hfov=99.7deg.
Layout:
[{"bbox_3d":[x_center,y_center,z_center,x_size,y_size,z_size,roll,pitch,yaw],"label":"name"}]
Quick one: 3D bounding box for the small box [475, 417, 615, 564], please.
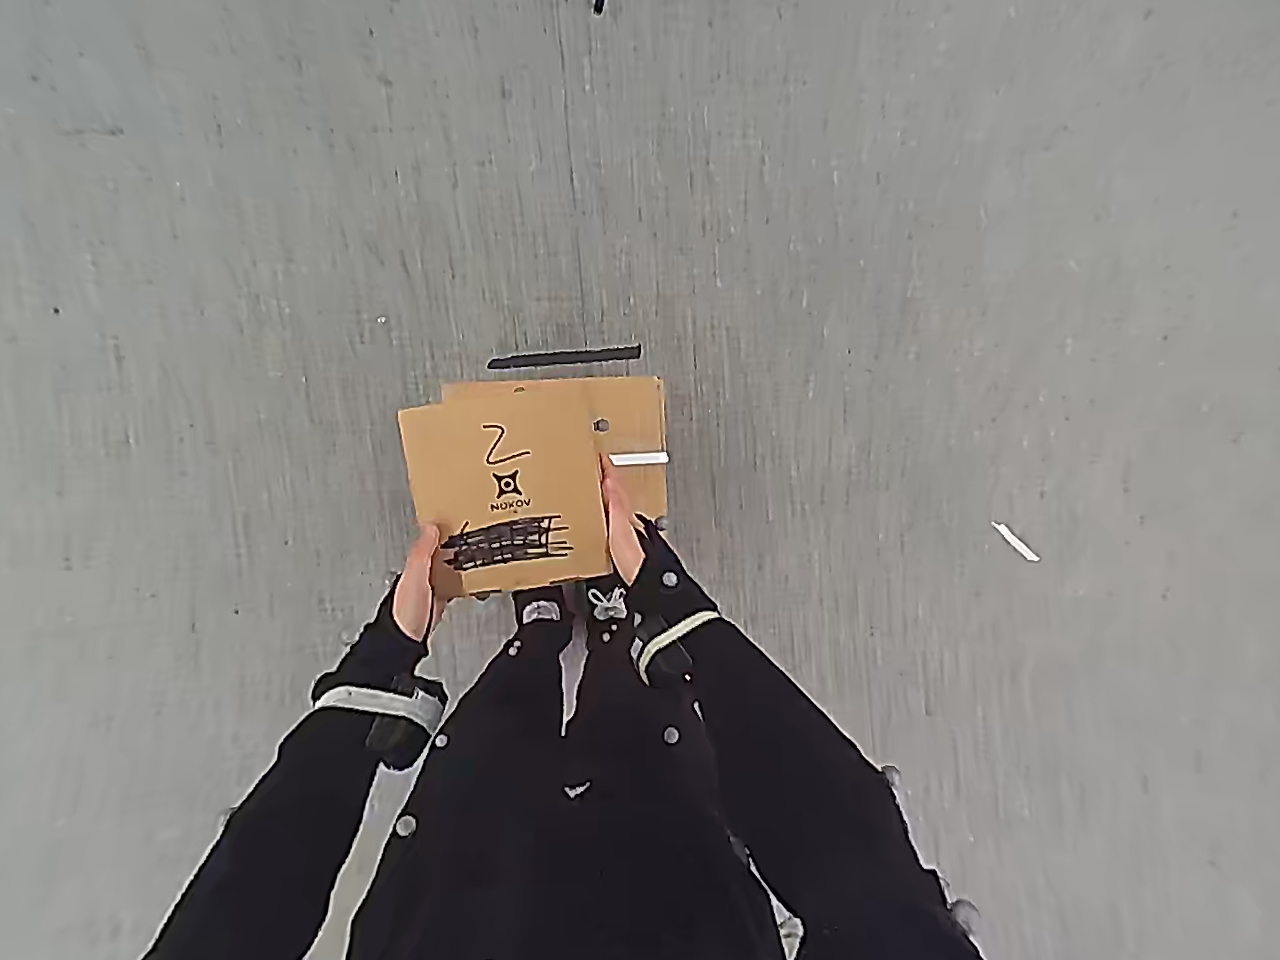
[{"bbox_3d":[-0.127,0.010,0.759,0.168,0.176,0.179,-5,94,-5],"label":"small box"}]
